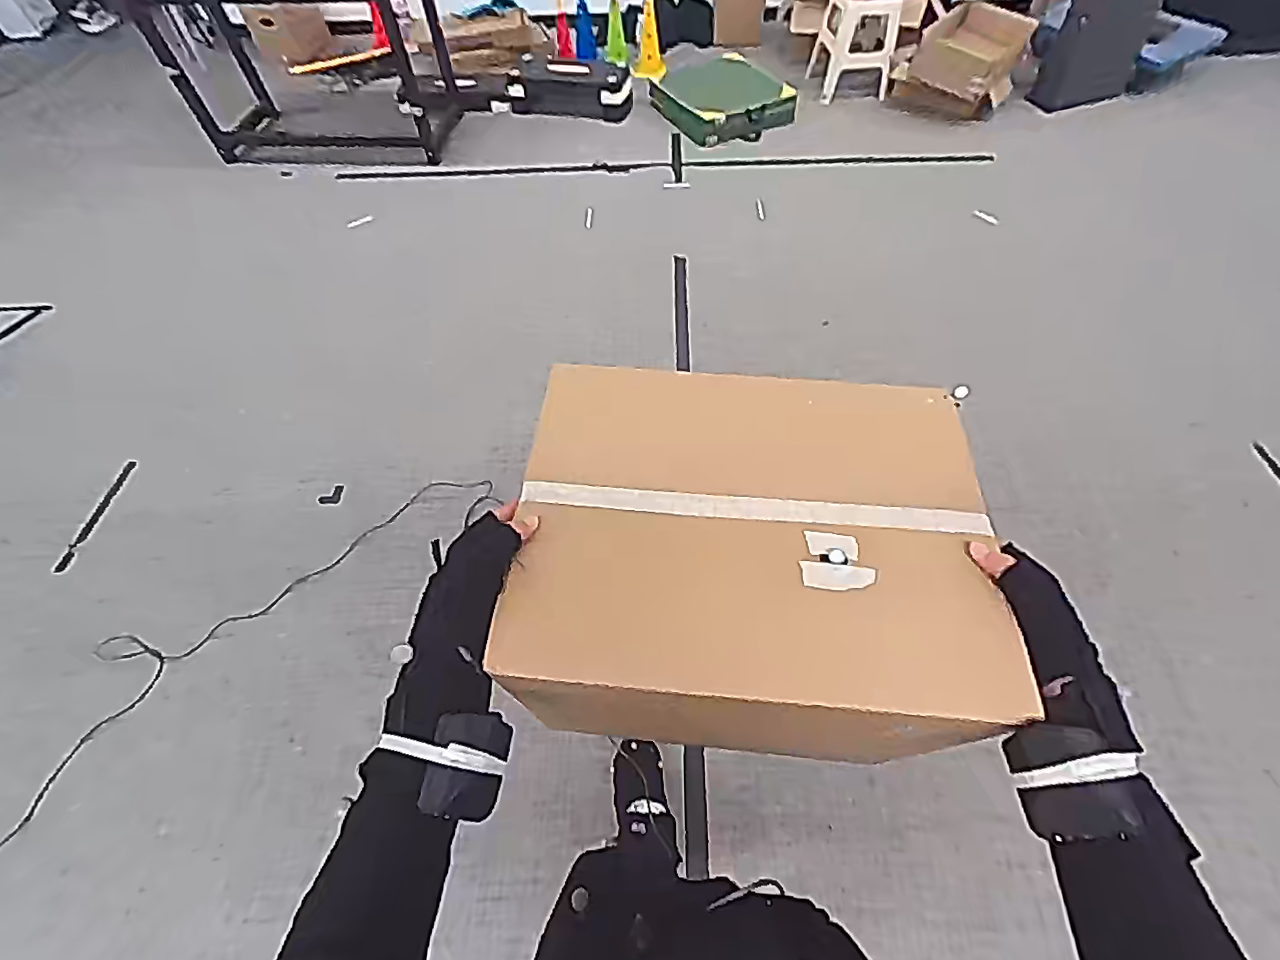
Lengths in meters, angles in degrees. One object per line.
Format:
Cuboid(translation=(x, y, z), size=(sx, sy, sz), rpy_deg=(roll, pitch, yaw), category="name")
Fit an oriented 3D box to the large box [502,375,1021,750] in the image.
Cuboid(translation=(0.098, 0.107, 0.613), size=(0.408, 0.320, 0.320), rpy_deg=(4, 59, 3), category="large box")
